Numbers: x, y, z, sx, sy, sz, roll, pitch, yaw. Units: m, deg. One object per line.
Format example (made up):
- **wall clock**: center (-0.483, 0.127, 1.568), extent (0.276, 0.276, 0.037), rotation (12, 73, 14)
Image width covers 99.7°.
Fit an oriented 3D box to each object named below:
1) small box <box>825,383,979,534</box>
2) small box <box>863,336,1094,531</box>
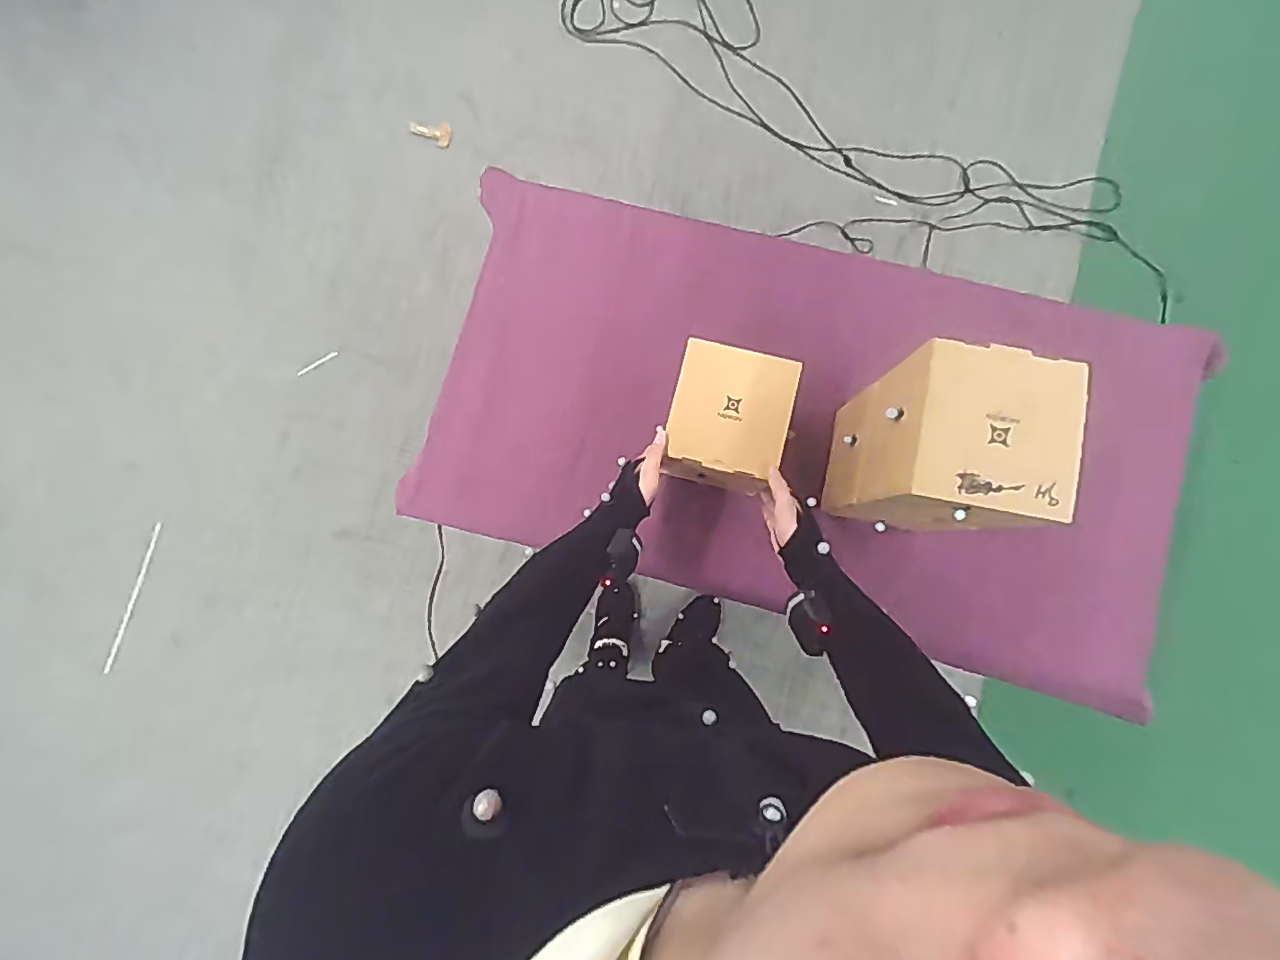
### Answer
- **small box**: center (0.388, -0.023, 0.801), extent (0.168, 0.176, 0.179), rotation (12, 84, 4)
- **small box**: center (0.381, -0.043, 0.638), extent (0.168, 0.176, 0.179), rotation (11, 83, 4)
